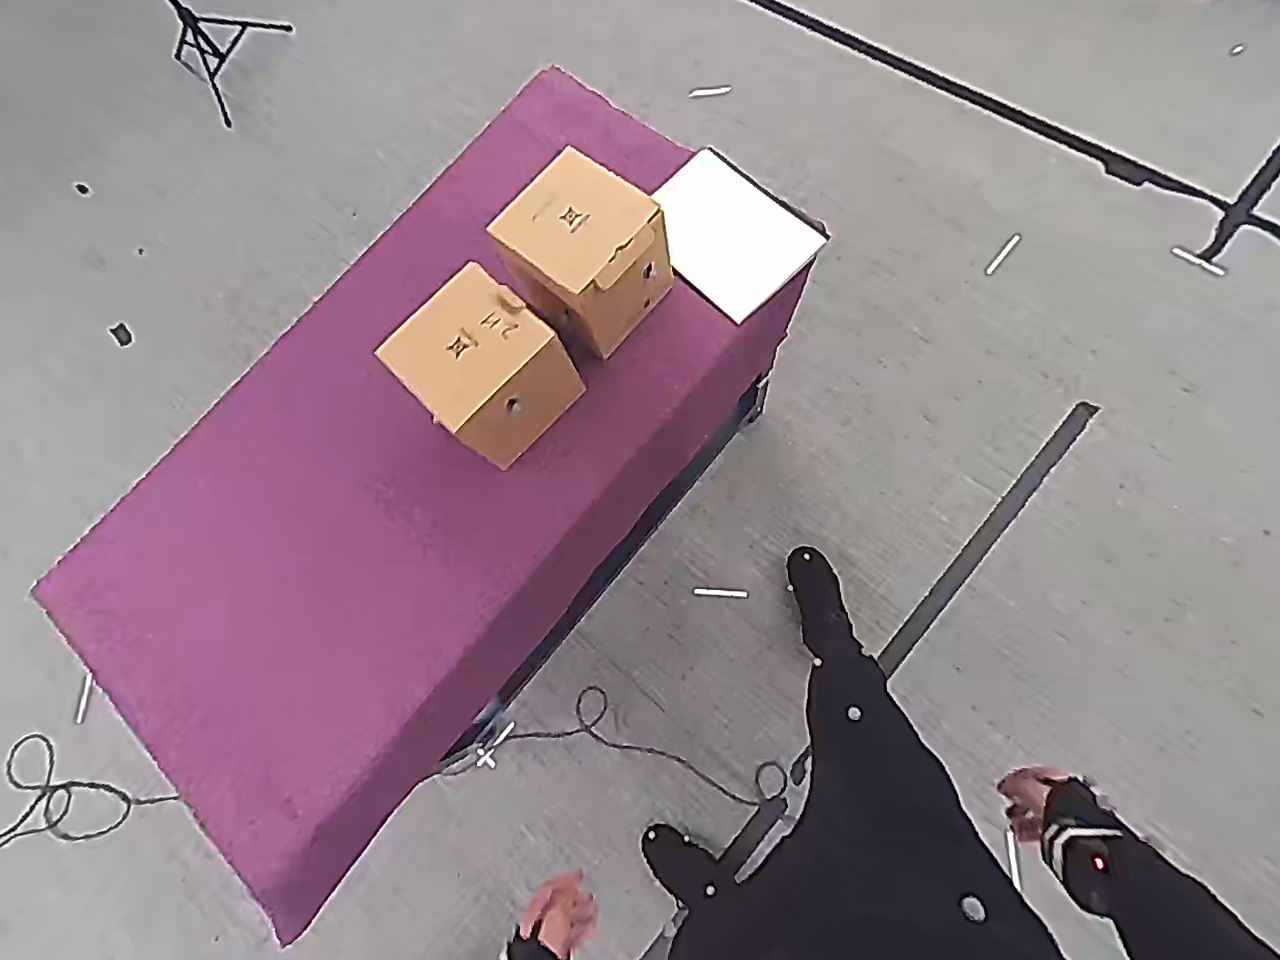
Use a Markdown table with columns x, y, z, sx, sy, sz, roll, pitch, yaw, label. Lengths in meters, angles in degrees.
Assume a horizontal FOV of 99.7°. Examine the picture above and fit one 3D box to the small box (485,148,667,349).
| x | y | z | sx | sy | sz | roll | pitch | yaw | label |
| --- | --- | --- | --- | --- | --- | --- | --- | --- | --- |
| -0.078 | -0.314 | 0.770 | 0.179 | 0.176 | 0.168 | 40 | 83 | 16 | small box |
